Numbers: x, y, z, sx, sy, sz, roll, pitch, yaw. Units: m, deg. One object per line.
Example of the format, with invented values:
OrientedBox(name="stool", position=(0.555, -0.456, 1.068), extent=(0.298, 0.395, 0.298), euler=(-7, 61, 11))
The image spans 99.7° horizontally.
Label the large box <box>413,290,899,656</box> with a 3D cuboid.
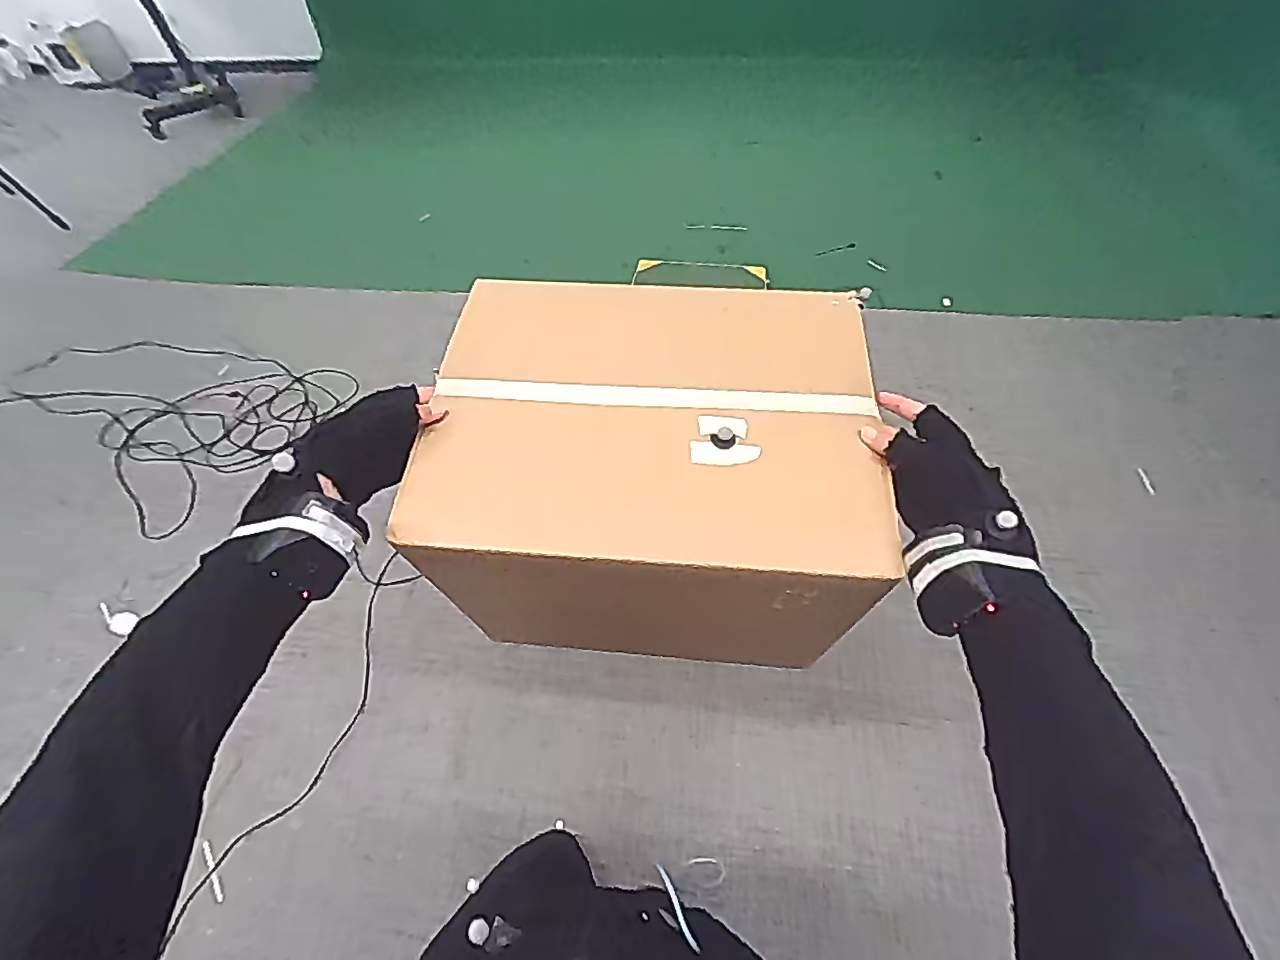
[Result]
OrientedBox(name="large box", position=(0.019, 0.007, 0.637), extent=(0.408, 0.320, 0.320), euler=(4, 60, 3))
